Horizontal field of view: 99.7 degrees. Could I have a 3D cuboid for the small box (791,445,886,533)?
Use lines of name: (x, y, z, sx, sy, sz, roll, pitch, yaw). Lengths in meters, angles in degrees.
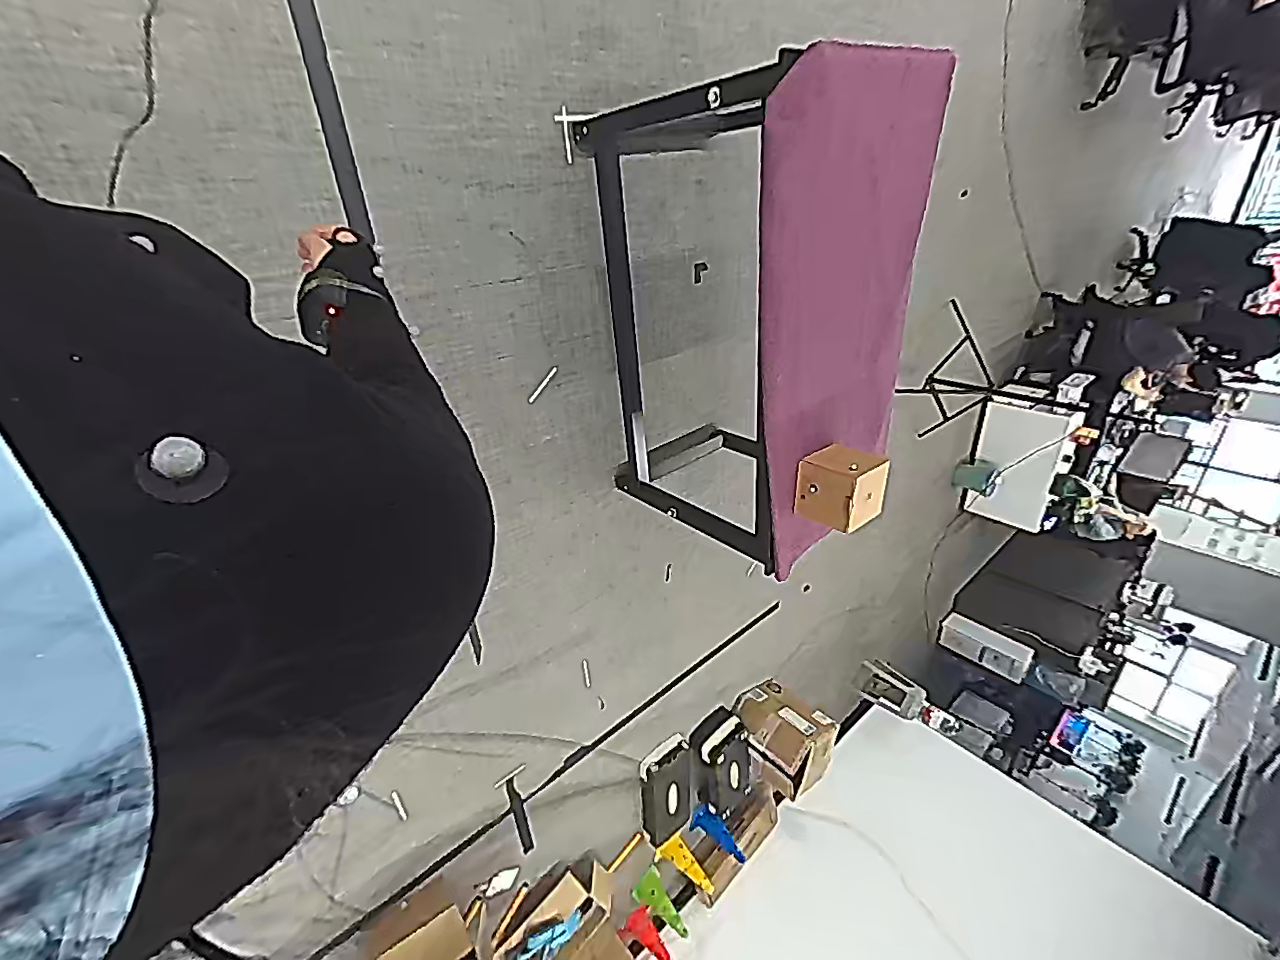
small box: (0.540, 0.016, 1.481, 0.179, 0.176, 0.168, -21, 121, -36)
